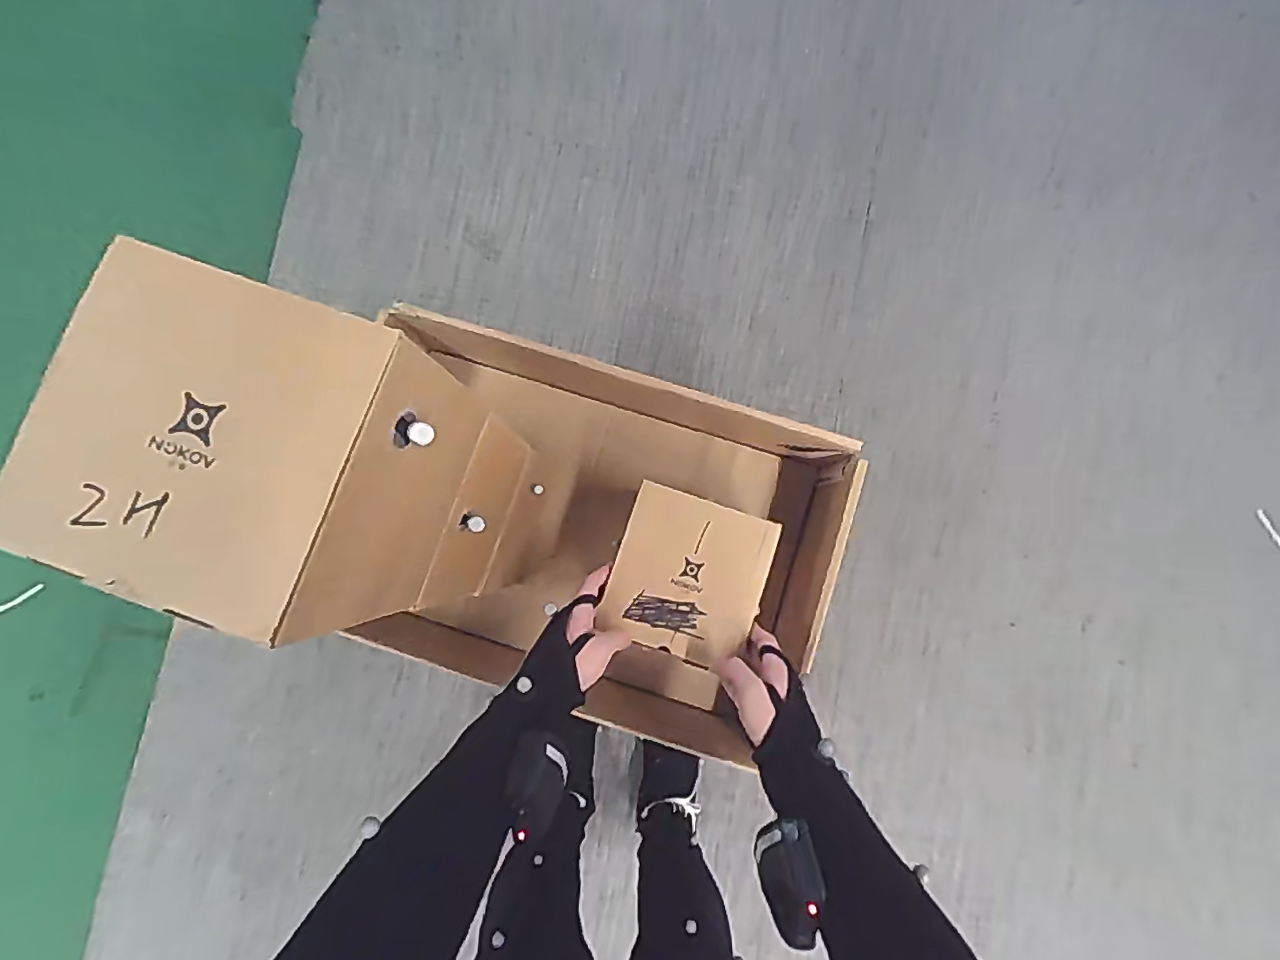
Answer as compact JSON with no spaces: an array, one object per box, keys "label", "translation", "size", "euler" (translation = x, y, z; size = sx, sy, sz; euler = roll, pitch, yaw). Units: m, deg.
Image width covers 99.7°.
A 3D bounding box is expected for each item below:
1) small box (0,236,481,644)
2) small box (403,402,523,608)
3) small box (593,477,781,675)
[{"label":"small box","translation":[-0.225,-0.017,0.361],"size":[0.168,0.176,0.179],"euler":[20,85,3]},{"label":"small box","translation":[-0.225,0.004,0.525],"size":[0.168,0.176,0.179],"euler":[19,85,2]},{"label":"small box","translation":[0.054,0.113,0.672],"size":[0.168,0.176,0.179],"euler":[19,84,2]}]
